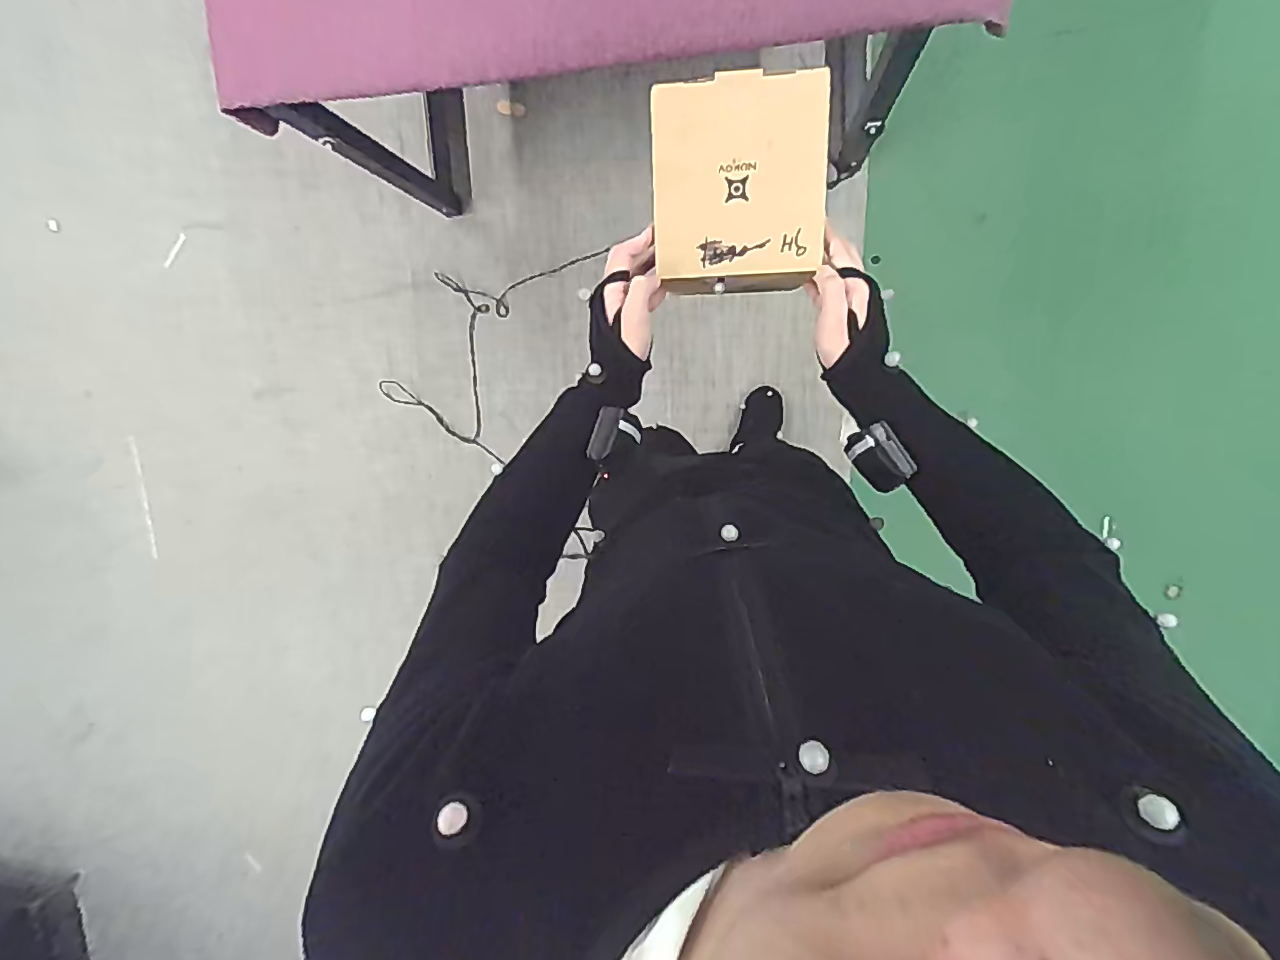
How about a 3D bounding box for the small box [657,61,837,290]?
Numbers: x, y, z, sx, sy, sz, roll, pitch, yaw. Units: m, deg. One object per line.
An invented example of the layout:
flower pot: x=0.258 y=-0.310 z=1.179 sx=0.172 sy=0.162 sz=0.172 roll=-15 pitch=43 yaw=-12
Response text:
small box: x=0.105 y=-0.308 z=0.586 sx=0.168 sy=0.176 sz=0.179 roll=0 pitch=105 yaw=7
